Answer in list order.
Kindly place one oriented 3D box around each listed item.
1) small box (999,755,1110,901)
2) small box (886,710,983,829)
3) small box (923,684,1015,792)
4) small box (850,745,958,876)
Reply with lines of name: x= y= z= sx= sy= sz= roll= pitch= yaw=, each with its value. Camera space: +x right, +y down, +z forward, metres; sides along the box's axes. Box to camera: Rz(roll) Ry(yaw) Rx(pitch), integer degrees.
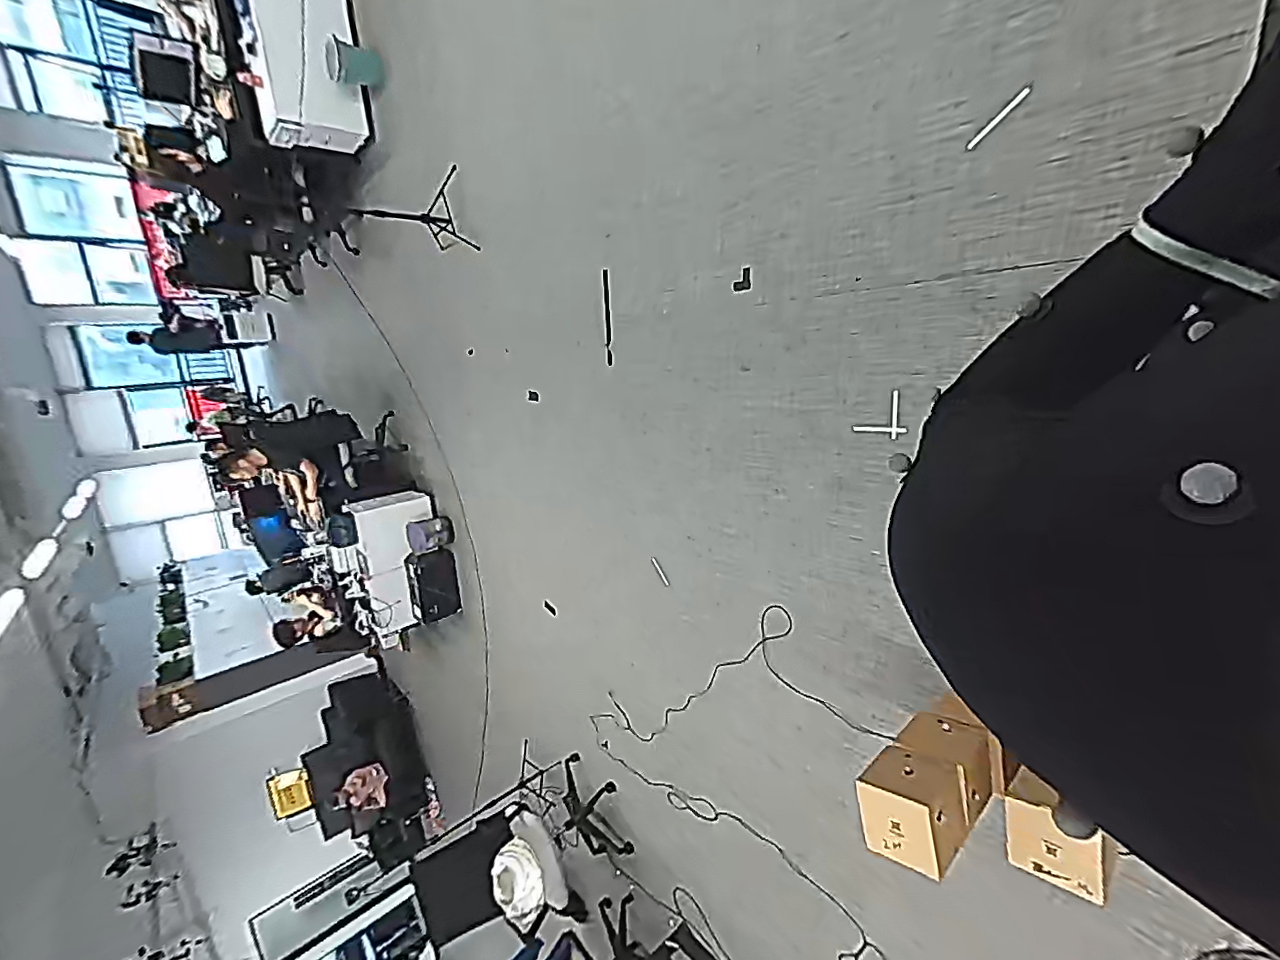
small box: x=0.909 y=0.748 z=1.188 sx=0.168 sy=0.176 sz=0.179 roll=3 pitch=104 yaw=49
small box: x=0.746 y=0.719 z=1.365 sx=0.168 sy=0.176 sz=0.179 roll=-1 pitch=100 yaw=49
small box: x=0.884 y=0.682 z=1.451 sx=0.168 sy=0.176 sz=0.179 roll=-2 pitch=100 yaw=49
small box: x=0.620 y=0.758 z=1.266 sx=0.168 sy=0.176 sz=0.179 roll=-5 pitch=97 yaw=50
